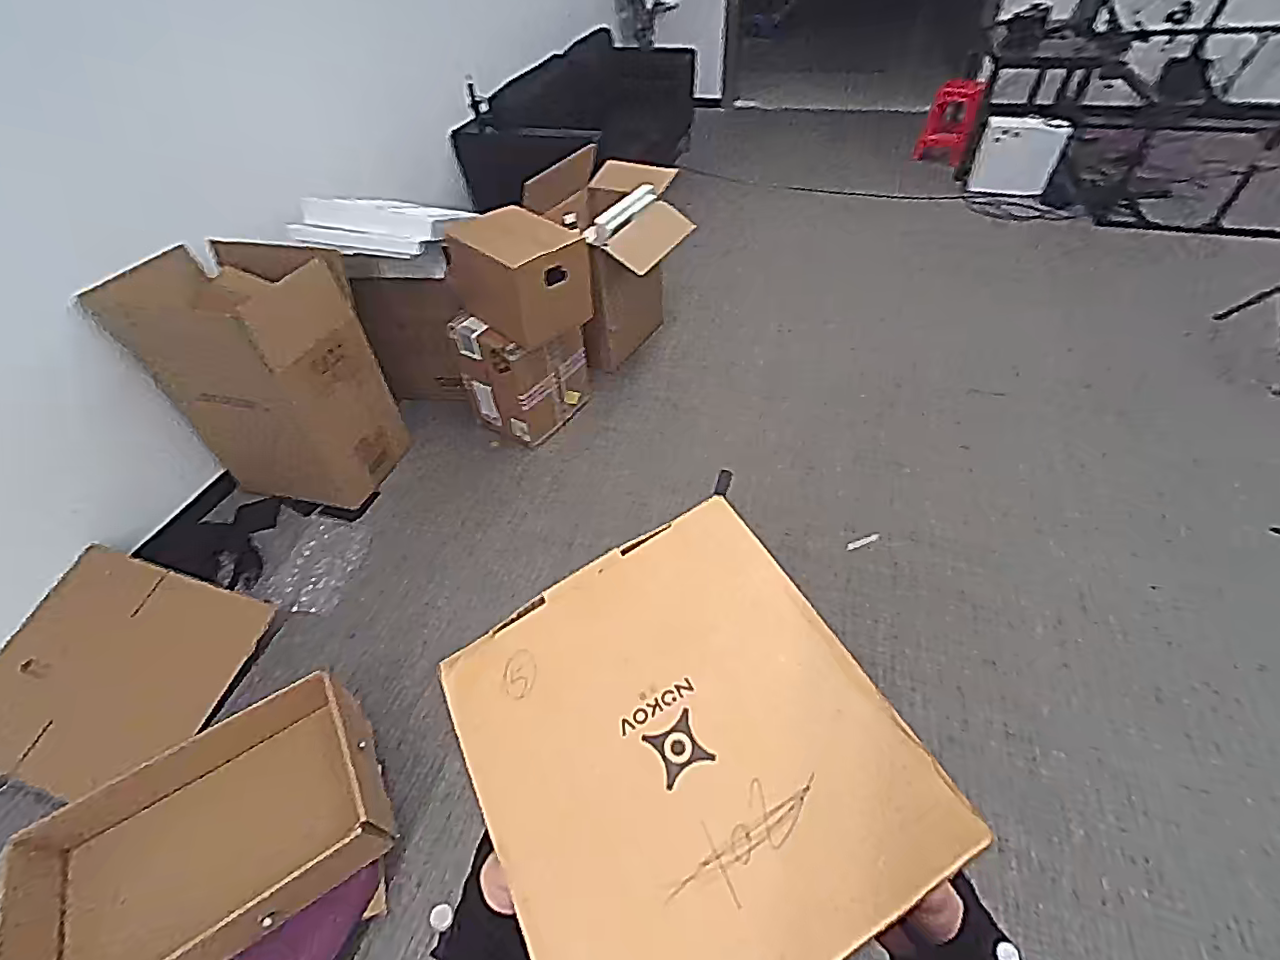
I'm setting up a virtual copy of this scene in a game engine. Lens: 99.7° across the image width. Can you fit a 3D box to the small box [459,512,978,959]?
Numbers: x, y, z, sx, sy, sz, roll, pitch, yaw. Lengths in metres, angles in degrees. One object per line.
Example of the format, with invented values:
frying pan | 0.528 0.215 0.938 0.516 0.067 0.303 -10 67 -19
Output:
small box | 0.031 0.156 0.304 0.168 0.176 0.179 -30 58 -7
